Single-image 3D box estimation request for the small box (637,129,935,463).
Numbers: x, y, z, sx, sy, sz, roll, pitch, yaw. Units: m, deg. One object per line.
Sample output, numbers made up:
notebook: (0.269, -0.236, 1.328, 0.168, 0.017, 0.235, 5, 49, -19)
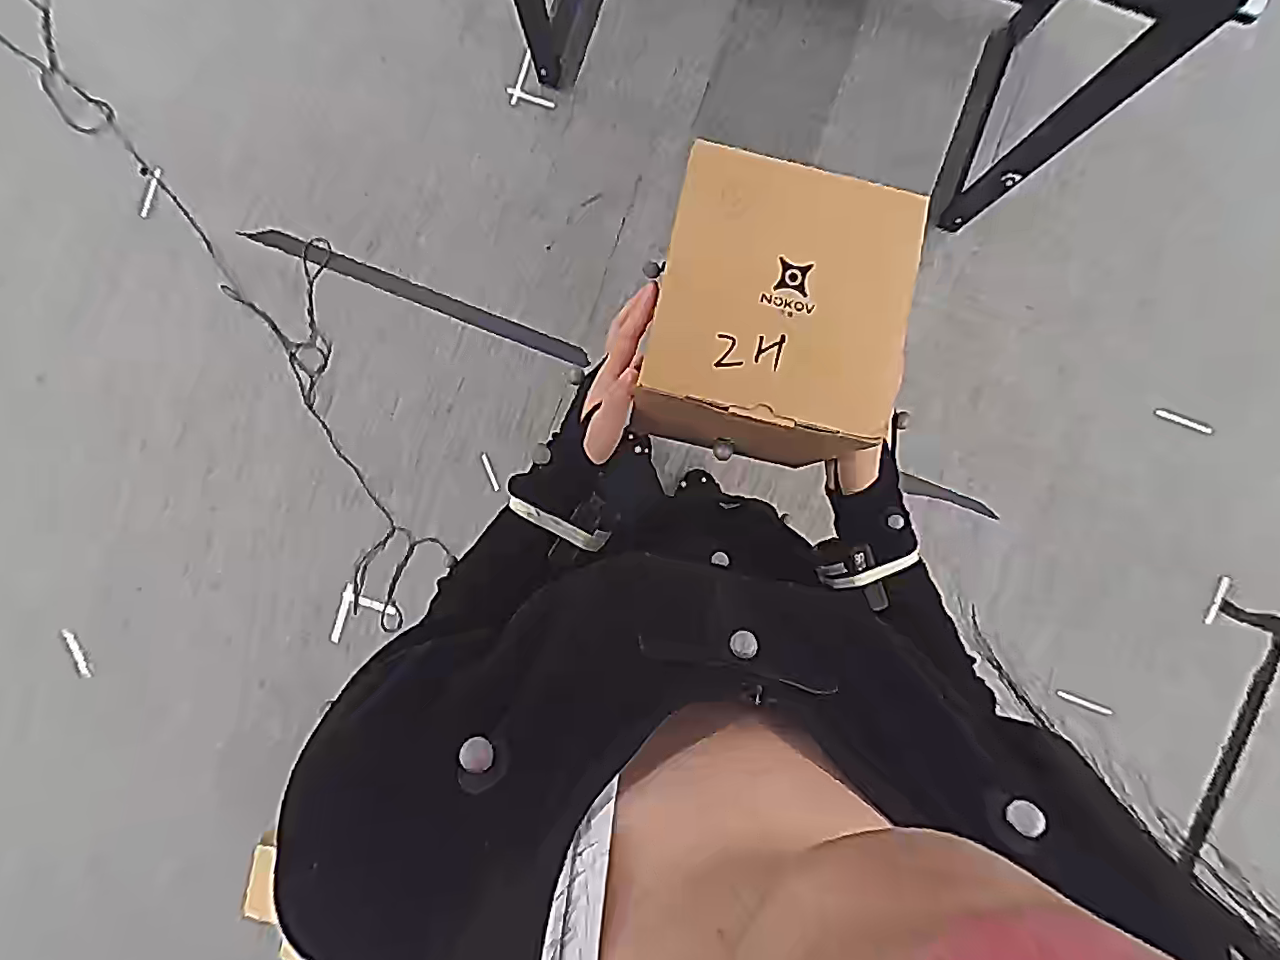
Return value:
small box: (0.094, -0.121, 0.428, 0.168, 0.176, 0.179, 13, 85, -2)
